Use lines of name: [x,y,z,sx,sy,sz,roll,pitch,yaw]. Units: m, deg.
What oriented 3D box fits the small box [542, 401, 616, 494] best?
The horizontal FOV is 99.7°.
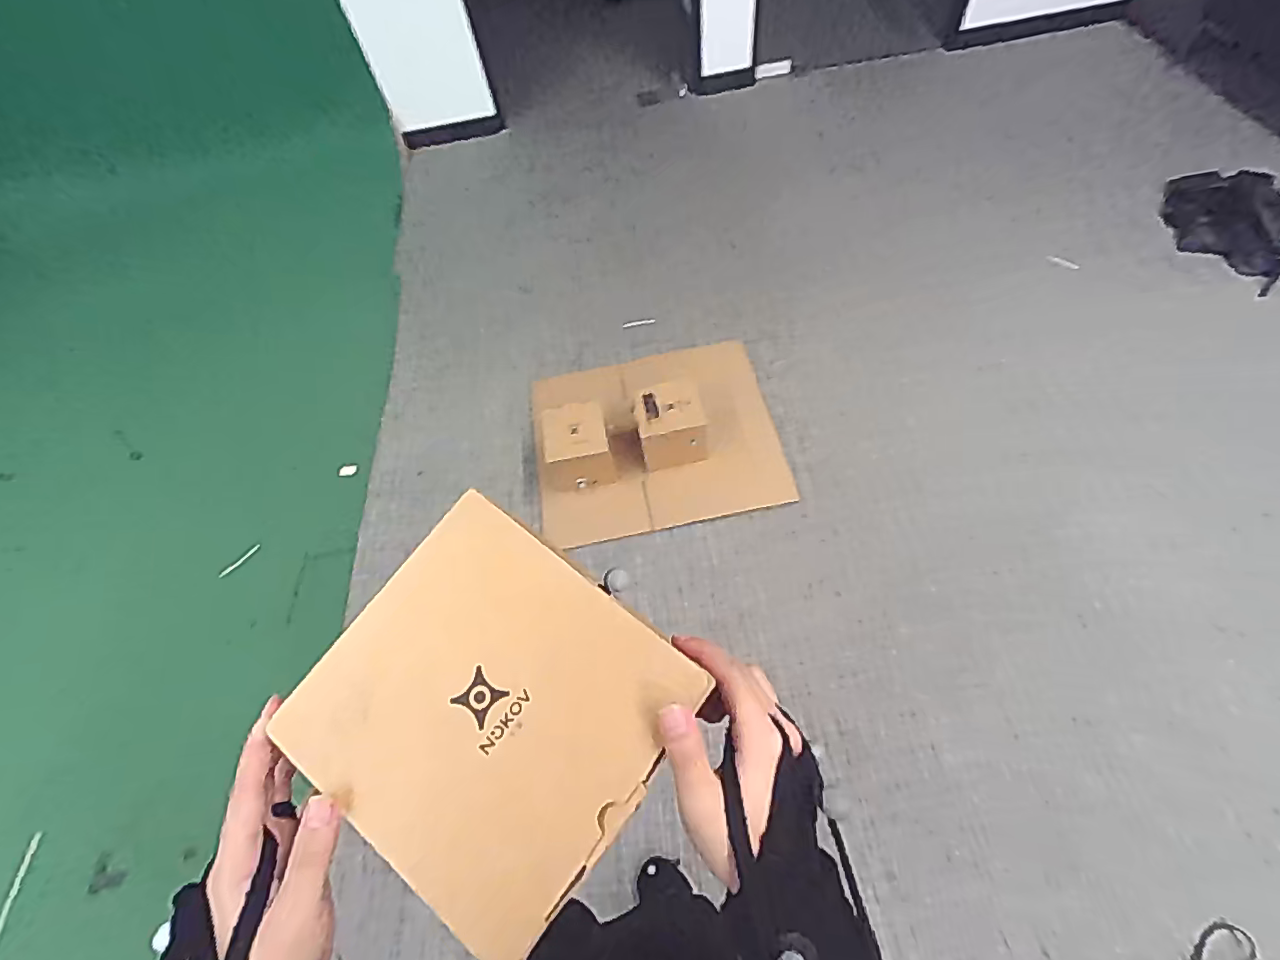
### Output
small box: [-0.167,-0.086,1.488,0.168,0.176,0.179,-11,60,1]
